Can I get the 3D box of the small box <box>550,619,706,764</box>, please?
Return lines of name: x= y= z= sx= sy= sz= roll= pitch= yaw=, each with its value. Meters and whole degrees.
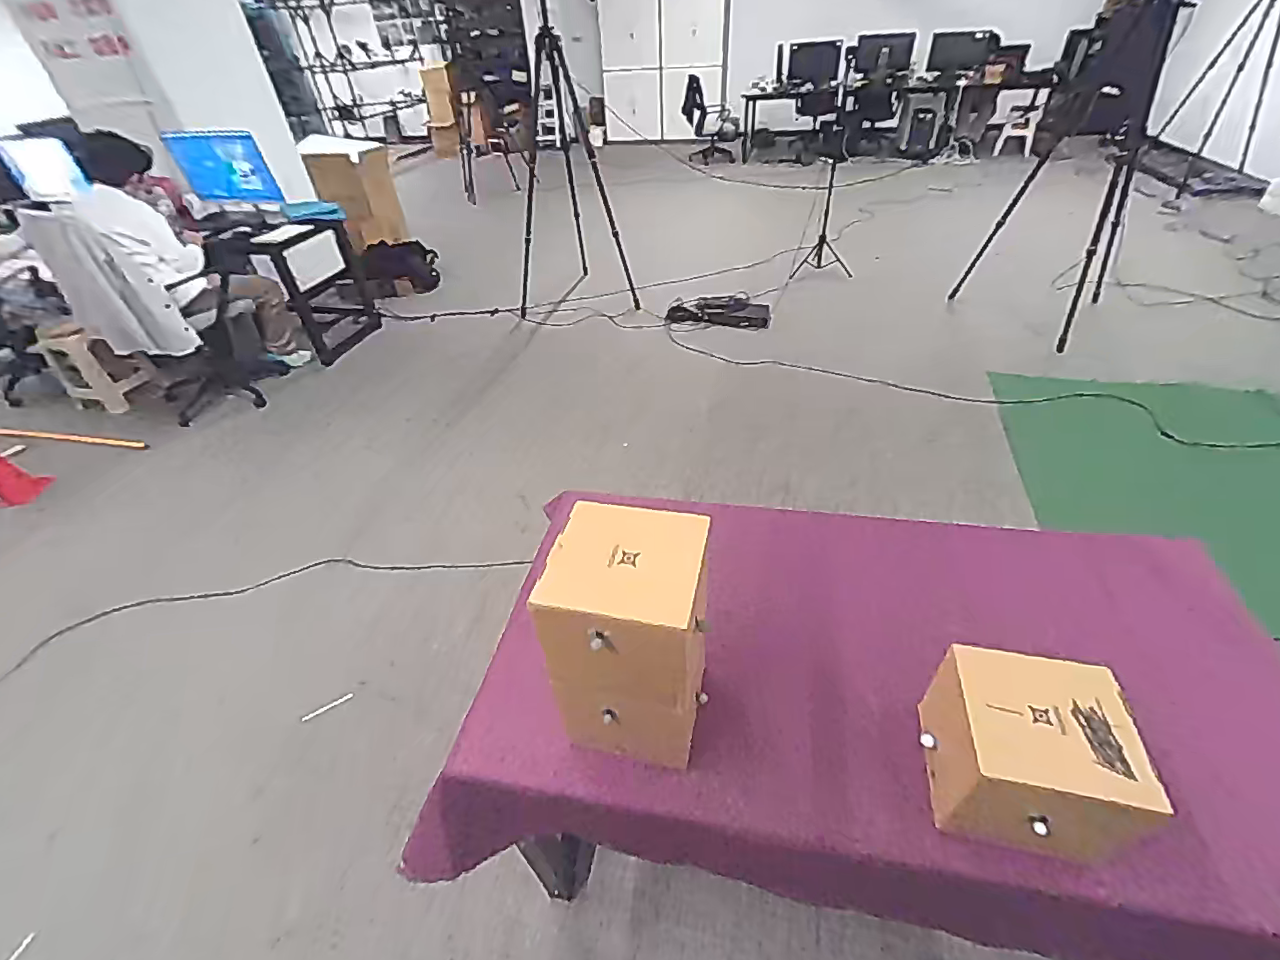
small box: x=-0.006 y=0.274 z=0.766 sx=0.179 sy=0.176 sz=0.168 roll=7 pitch=42 yaw=13

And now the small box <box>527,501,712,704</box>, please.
small box: x=-0.011 y=0.150 z=0.661 sx=0.179 sy=0.176 sz=0.168 roll=6 pitch=41 yaw=14

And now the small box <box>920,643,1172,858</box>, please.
small box: x=0.465 y=0.328 z=0.657 sx=0.179 sy=0.176 sz=0.168 roll=6 pitch=41 yaw=14
